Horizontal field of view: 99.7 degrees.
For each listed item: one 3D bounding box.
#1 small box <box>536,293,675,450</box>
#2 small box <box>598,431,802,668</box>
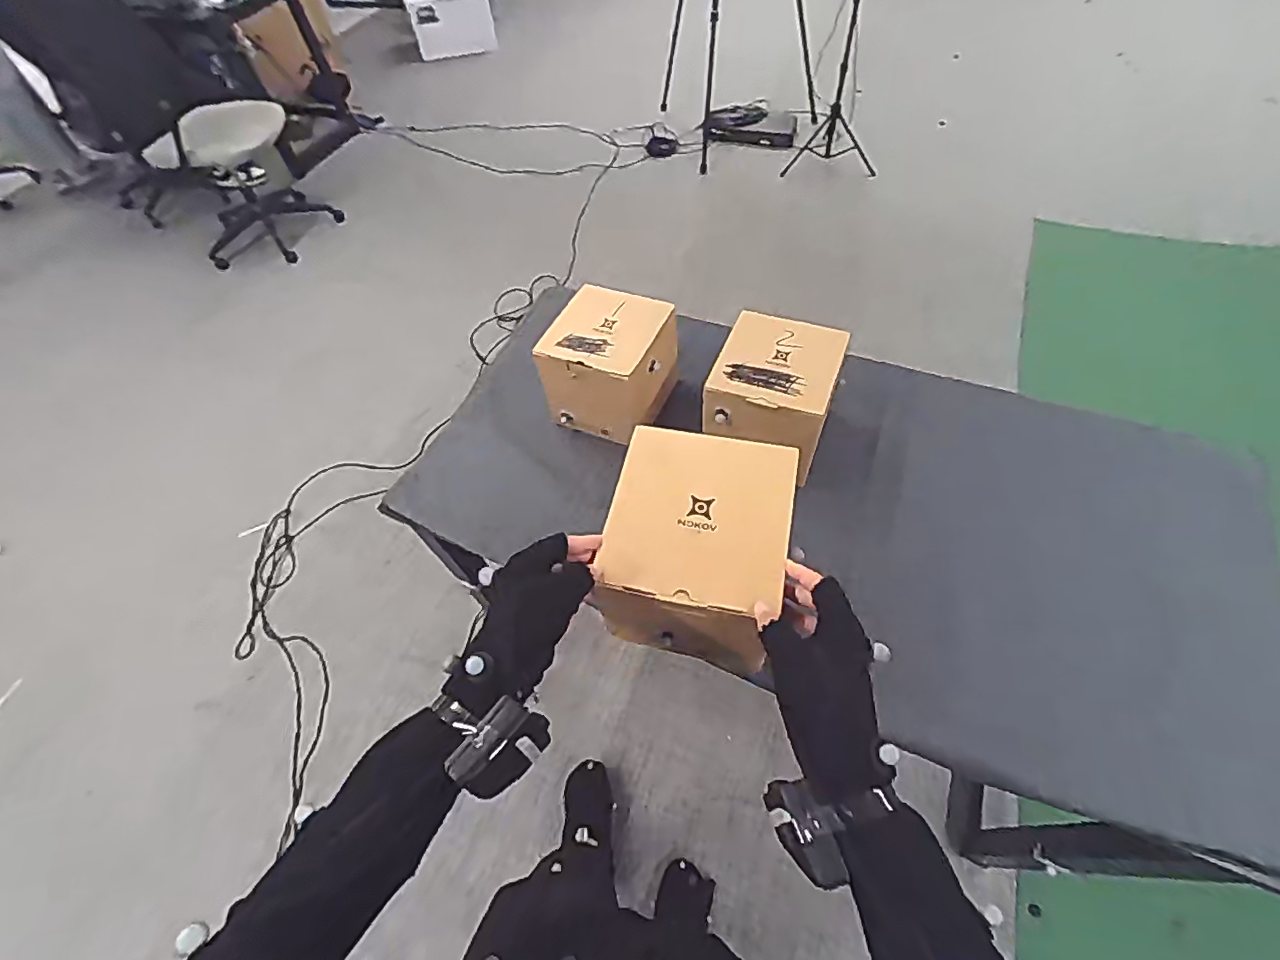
[{"bbox_3d":[-0.044,-0.177,0.905,0.168,0.176,0.179,19,58,17],"label":"small box"},{"bbox_3d":[0.066,0.076,0.571,0.168,0.176,0.179,9,59,11],"label":"small box"}]
